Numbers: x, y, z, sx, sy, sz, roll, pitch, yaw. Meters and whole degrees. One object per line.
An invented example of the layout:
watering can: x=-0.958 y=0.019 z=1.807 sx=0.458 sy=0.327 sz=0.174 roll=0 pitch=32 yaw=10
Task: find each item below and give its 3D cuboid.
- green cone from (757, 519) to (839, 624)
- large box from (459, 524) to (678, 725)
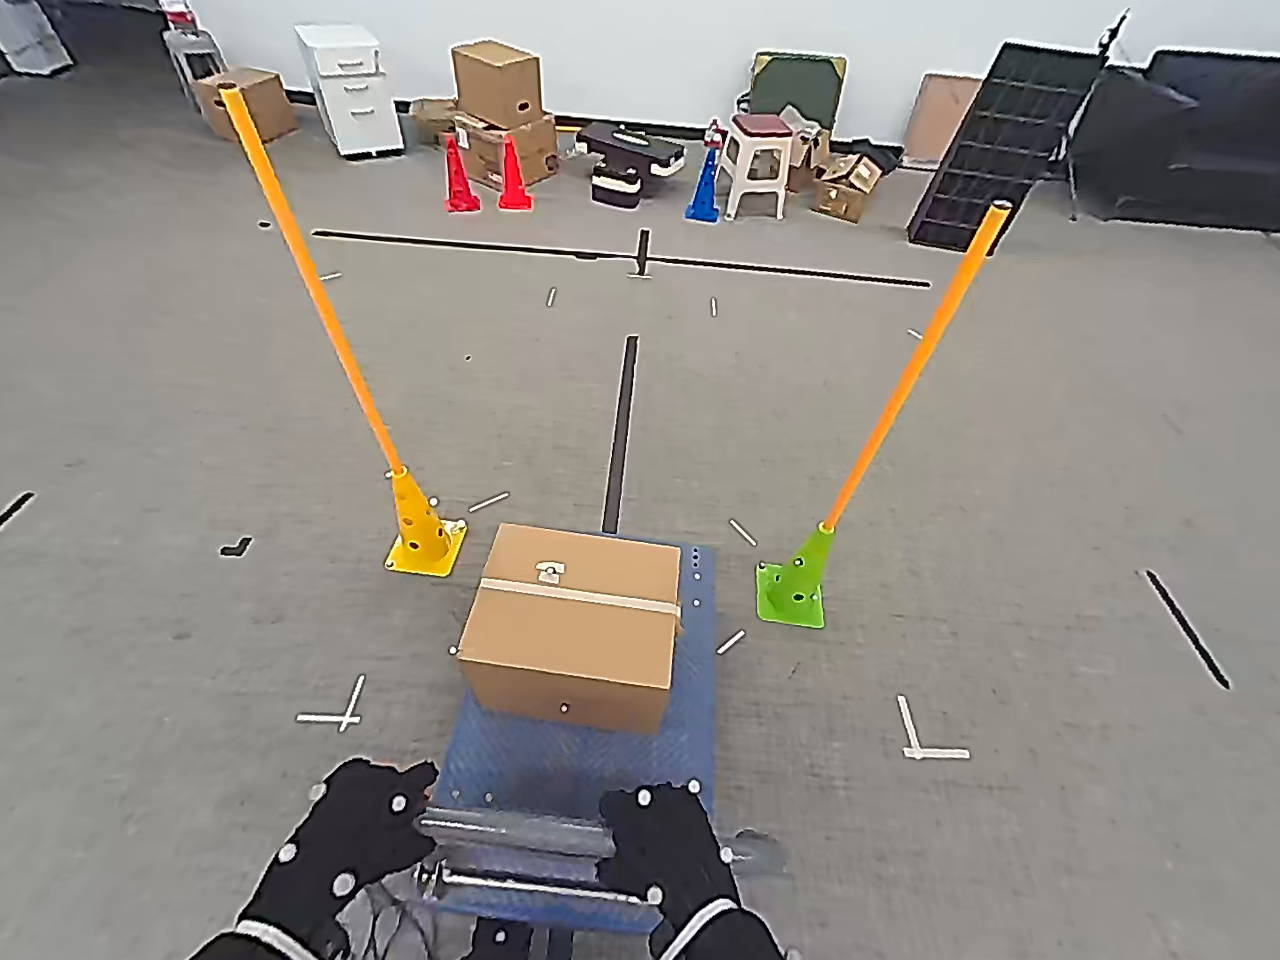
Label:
green cone: x=0.476 y=0.234 z=1.541 sx=0.202 sy=0.368 sz=0.200 roll=9 pitch=50 yaw=0
large box: x=-0.134 y=0.331 z=1.214 sx=0.408 sy=0.320 sz=0.320 roll=8 pitch=50 yaw=2
